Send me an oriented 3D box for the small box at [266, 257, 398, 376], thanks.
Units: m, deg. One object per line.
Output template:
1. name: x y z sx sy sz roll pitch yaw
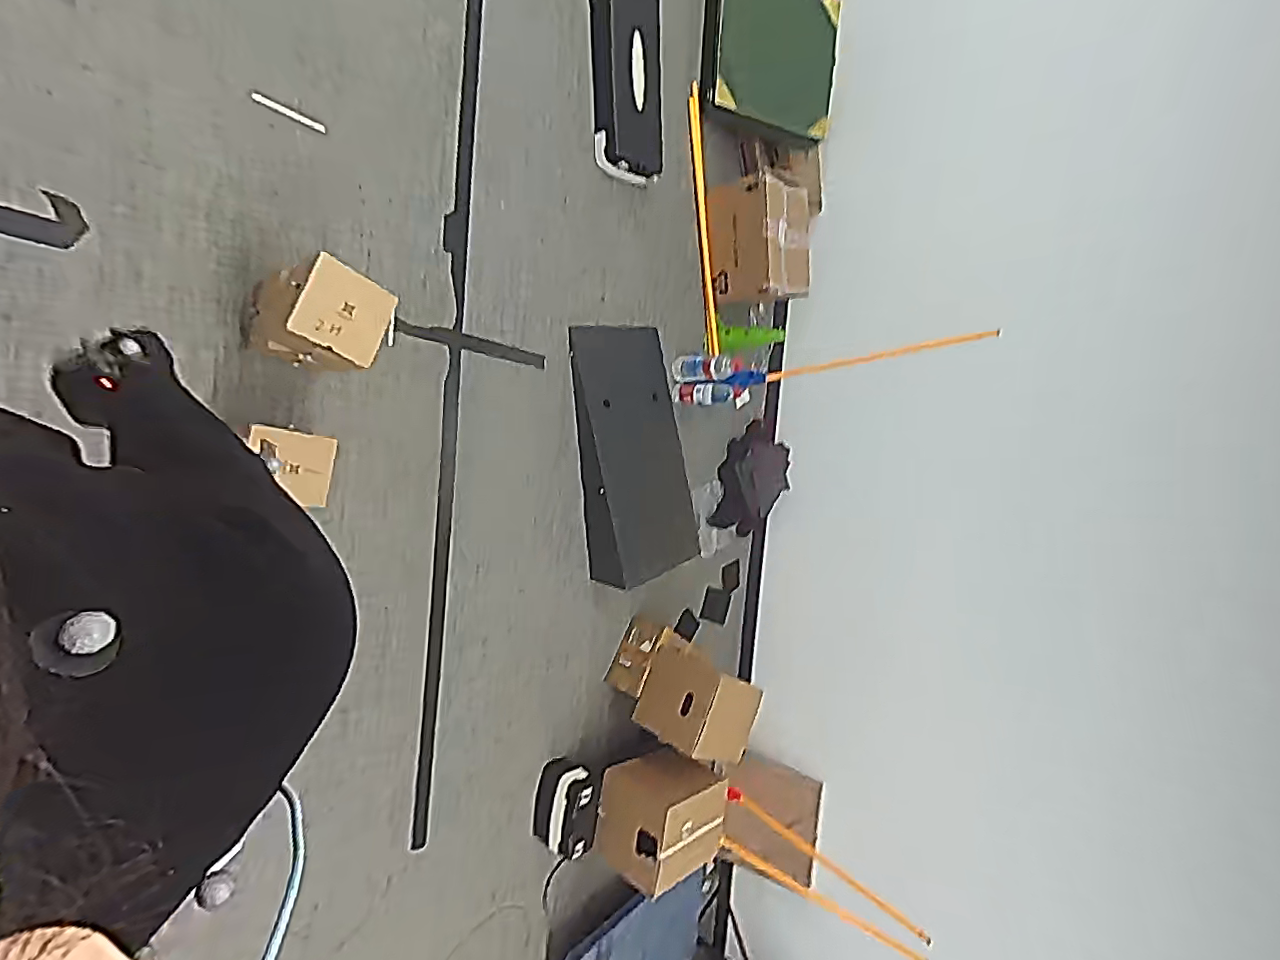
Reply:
1. small box: -0.655 -0.336 1.147 0.168 0.176 0.179 30 73 -46

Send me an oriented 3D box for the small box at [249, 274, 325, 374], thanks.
1. small box: -0.781 -0.351 1.254 0.168 0.176 0.179 12 88 -49

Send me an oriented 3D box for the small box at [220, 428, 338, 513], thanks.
1. small box: -0.834 -0.023 1.244 0.179 0.176 0.168 13 86 -50
